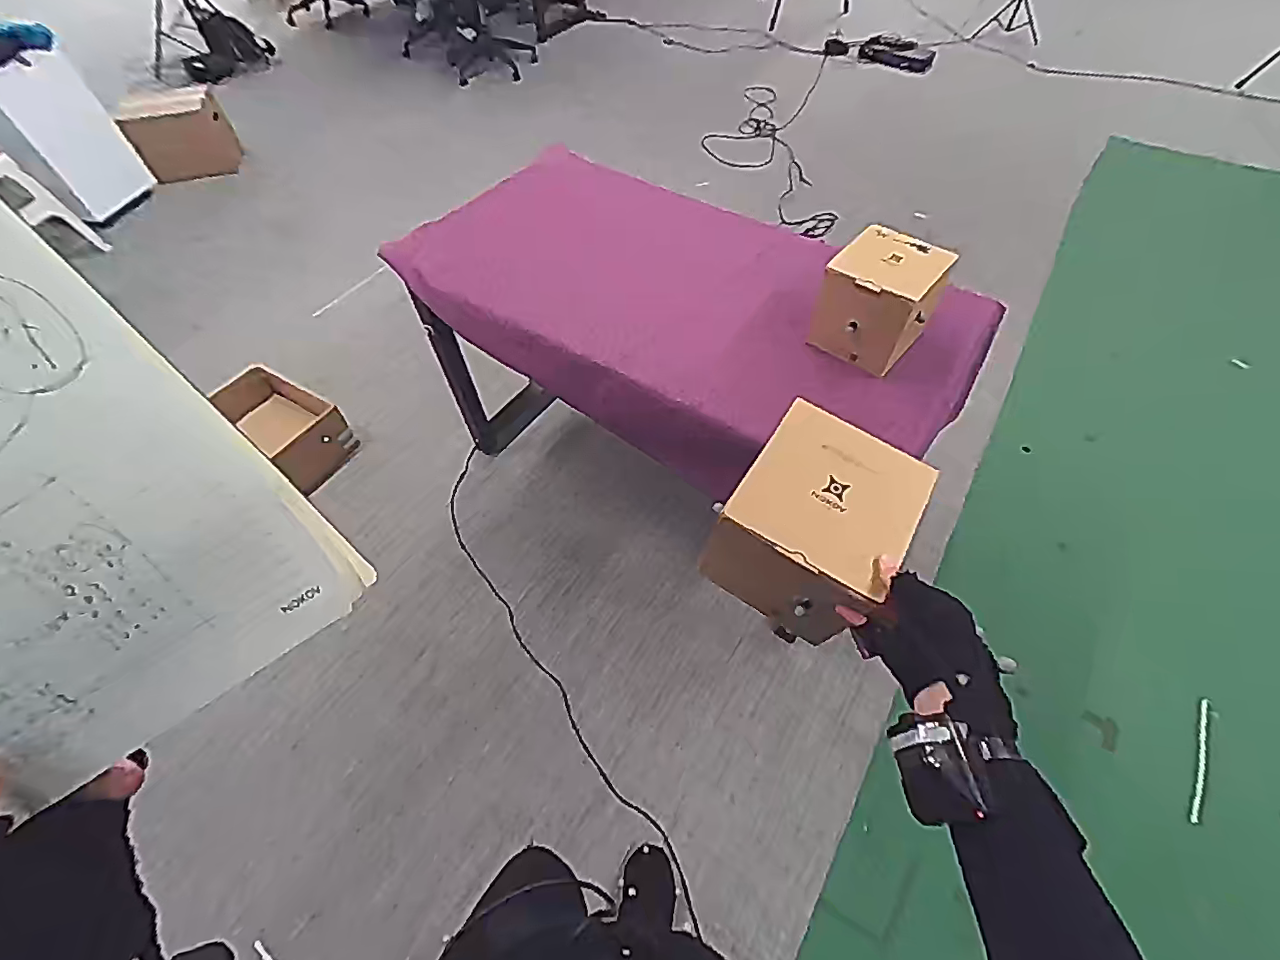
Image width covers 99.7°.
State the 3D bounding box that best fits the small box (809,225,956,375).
[{"bbox_3d":[0.431,-0.325,0.992,0.168,0.176,0.179,35,63,23],"label":"small box"}]

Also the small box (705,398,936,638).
[{"bbox_3d":[0.186,0.050,0.606,0.168,0.176,0.179,31,63,13],"label":"small box"}]
